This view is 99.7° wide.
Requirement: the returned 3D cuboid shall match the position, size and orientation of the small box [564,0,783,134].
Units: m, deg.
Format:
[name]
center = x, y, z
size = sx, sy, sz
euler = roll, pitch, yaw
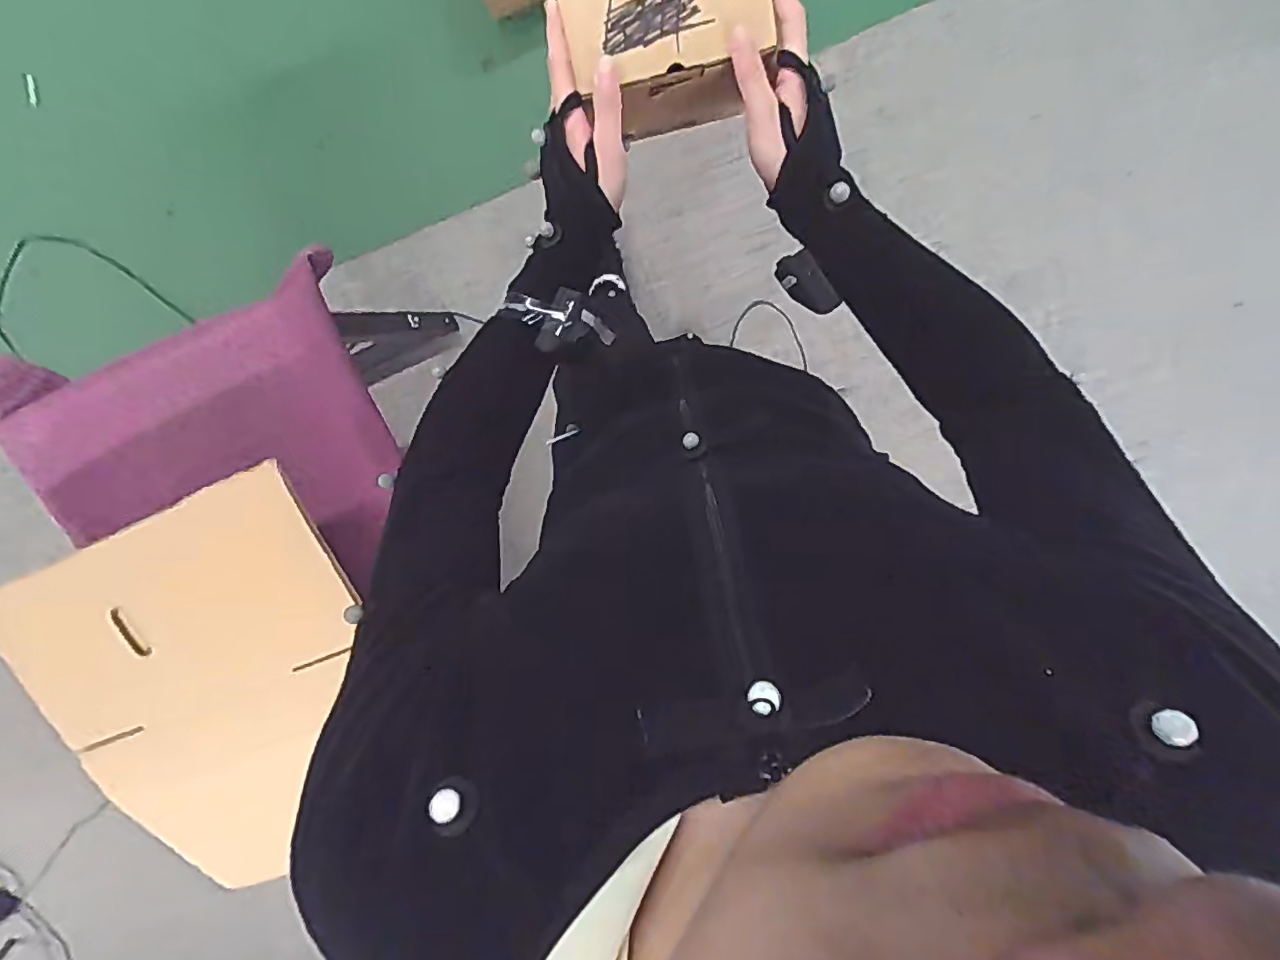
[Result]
[small box]
center = 0.018, -0.431, 0.475
size = 0.168, 0.176, 0.179
euler = -11, 107, 3
